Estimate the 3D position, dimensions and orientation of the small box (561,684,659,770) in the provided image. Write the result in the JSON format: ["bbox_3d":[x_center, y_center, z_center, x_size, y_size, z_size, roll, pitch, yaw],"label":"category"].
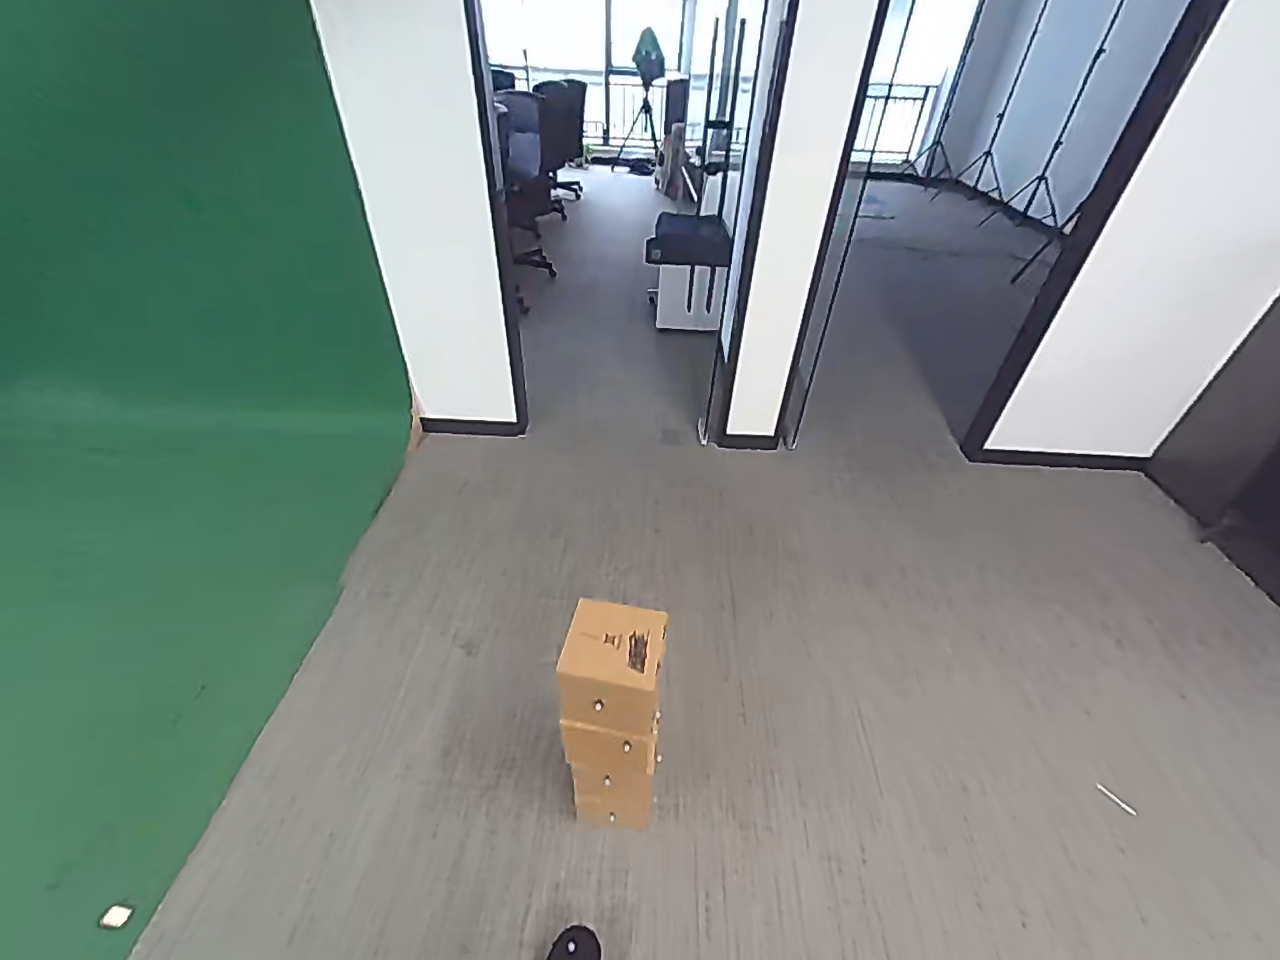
[{"bbox_3d":[-0.058,0.483,1.135,0.179,0.176,0.168,7,40,5],"label":"small box"}]

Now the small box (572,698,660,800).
[{"bbox_3d":[-0.050,0.609,1.239,0.179,0.176,0.168,5,41,3],"label":"small box"}]

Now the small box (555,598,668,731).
[{"bbox_3d":[-0.049,0.355,1.033,0.179,0.176,0.168,8,40,8],"label":"small box"}]
